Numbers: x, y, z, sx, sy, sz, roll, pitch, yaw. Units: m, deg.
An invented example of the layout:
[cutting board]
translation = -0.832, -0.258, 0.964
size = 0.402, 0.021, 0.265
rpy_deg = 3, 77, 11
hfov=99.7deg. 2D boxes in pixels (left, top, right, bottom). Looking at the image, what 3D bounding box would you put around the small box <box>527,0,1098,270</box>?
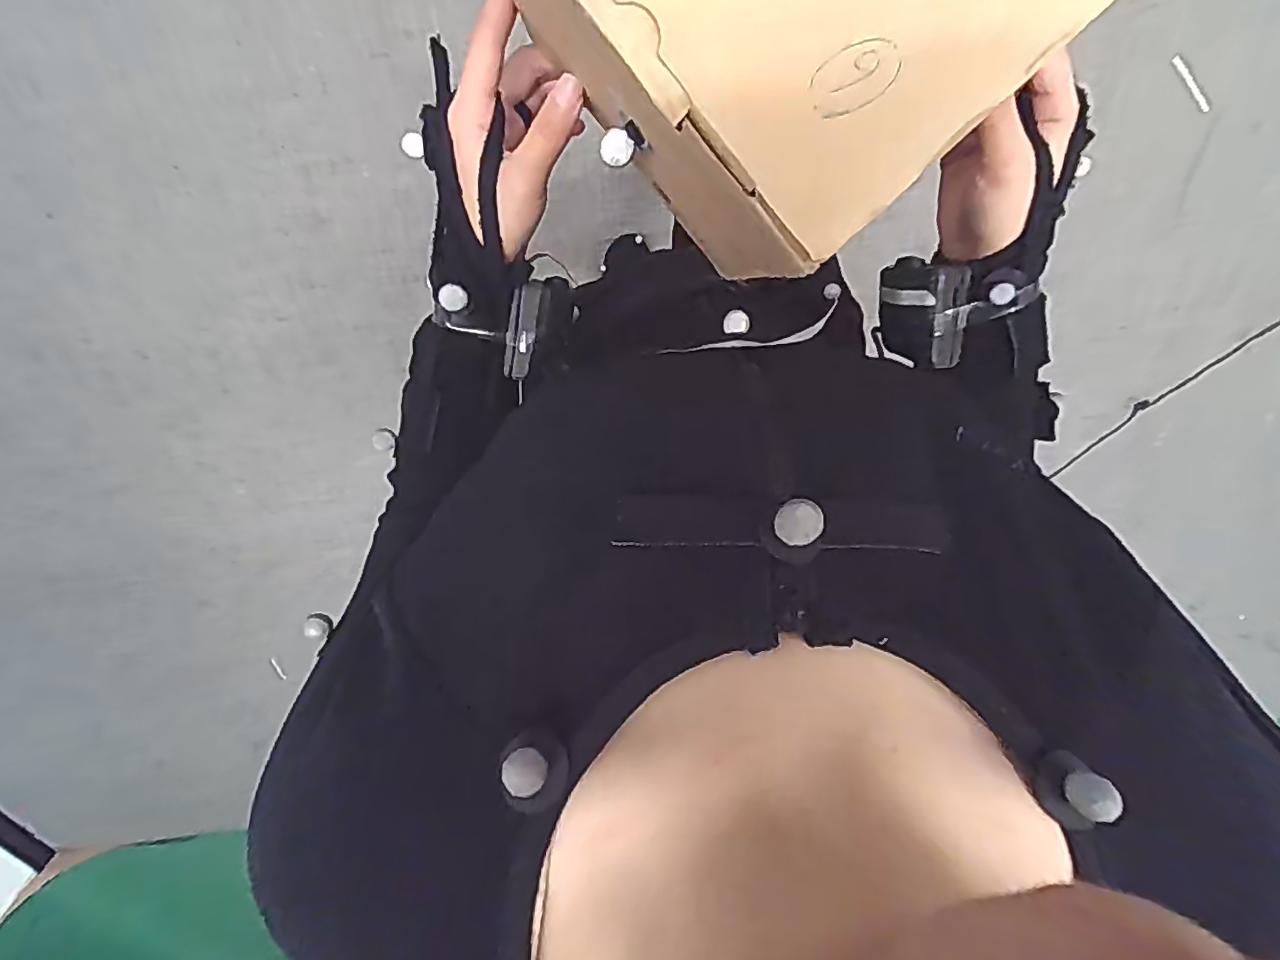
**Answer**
[small box]
translation = 0.060, -0.202, 0.208
size = 0.179, 0.176, 0.168
rpy_deg = -41, 104, 14
